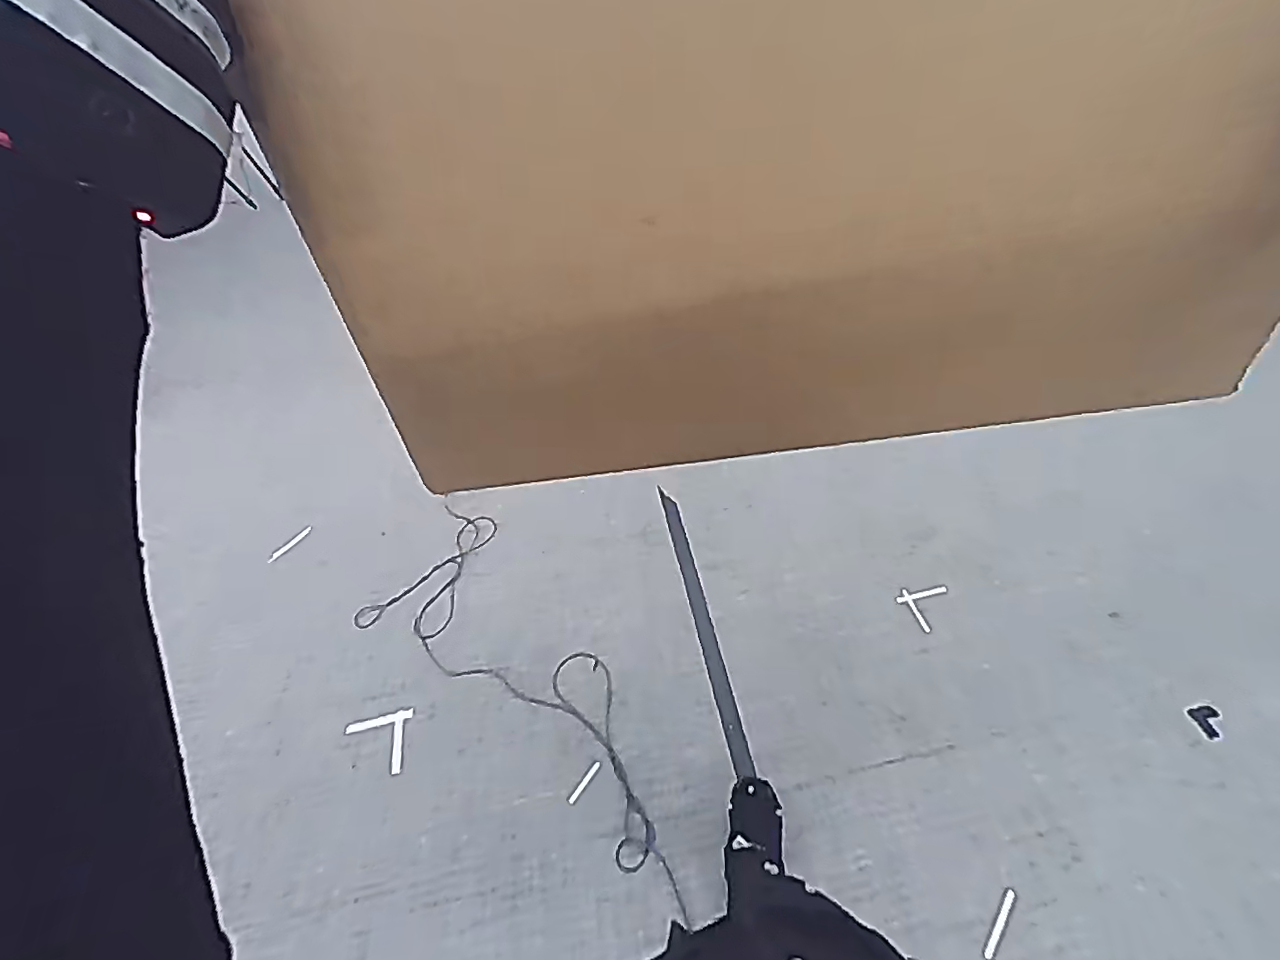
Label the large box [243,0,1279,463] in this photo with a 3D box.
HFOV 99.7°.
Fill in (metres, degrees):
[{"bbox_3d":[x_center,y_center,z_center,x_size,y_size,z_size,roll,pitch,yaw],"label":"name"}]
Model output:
[{"bbox_3d":[0.062,-0.238,0.302,0.408,0.320,0.320,-7,40,0],"label":"large box"}]
